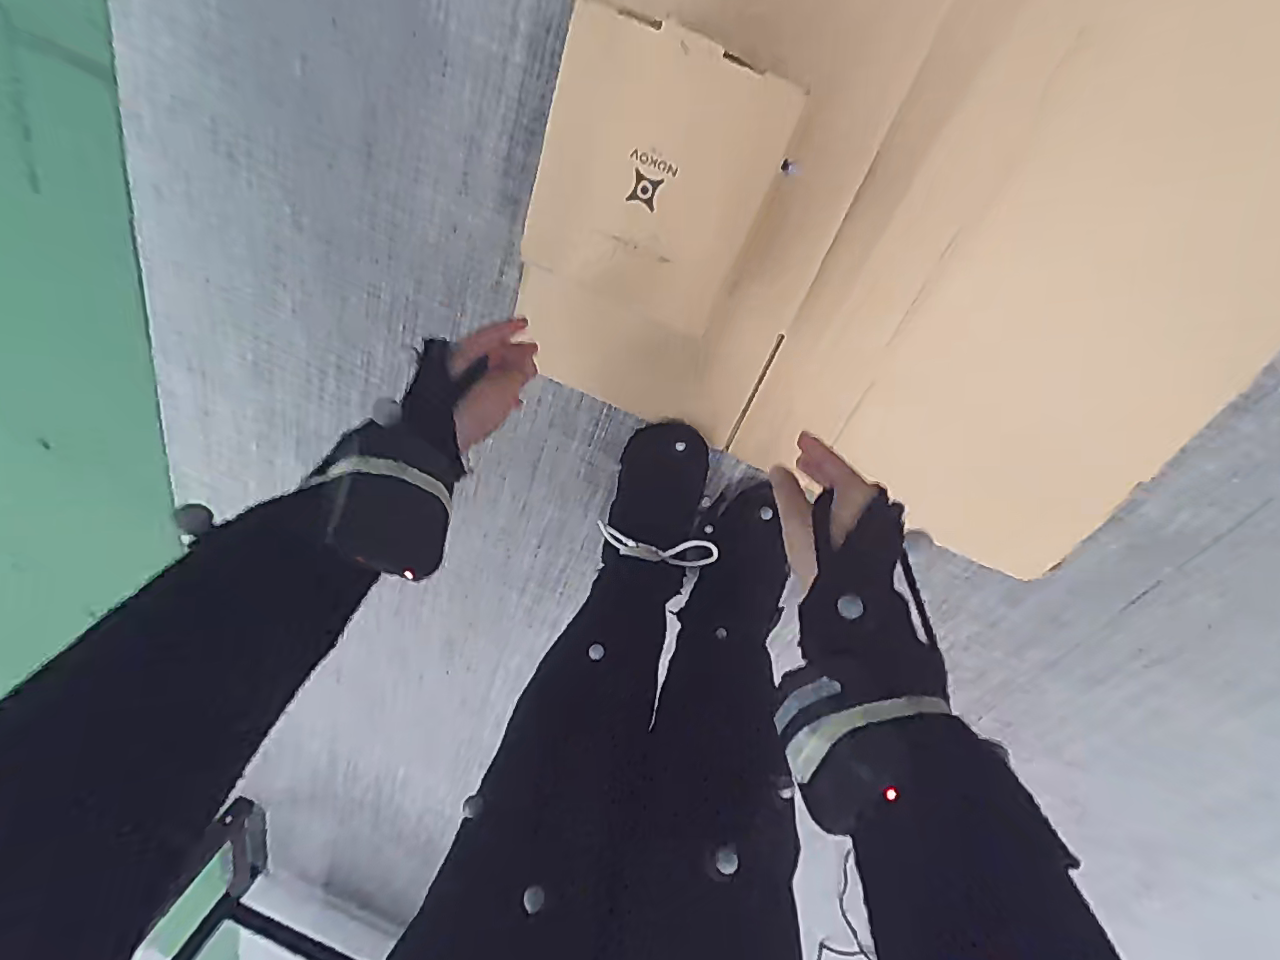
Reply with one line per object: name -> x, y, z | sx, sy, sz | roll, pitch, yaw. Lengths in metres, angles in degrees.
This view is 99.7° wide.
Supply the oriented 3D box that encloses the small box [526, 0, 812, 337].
small box -> 0.028, -0.253, 0.460 | 0.168, 0.176, 0.179 | 25, 123, 2
